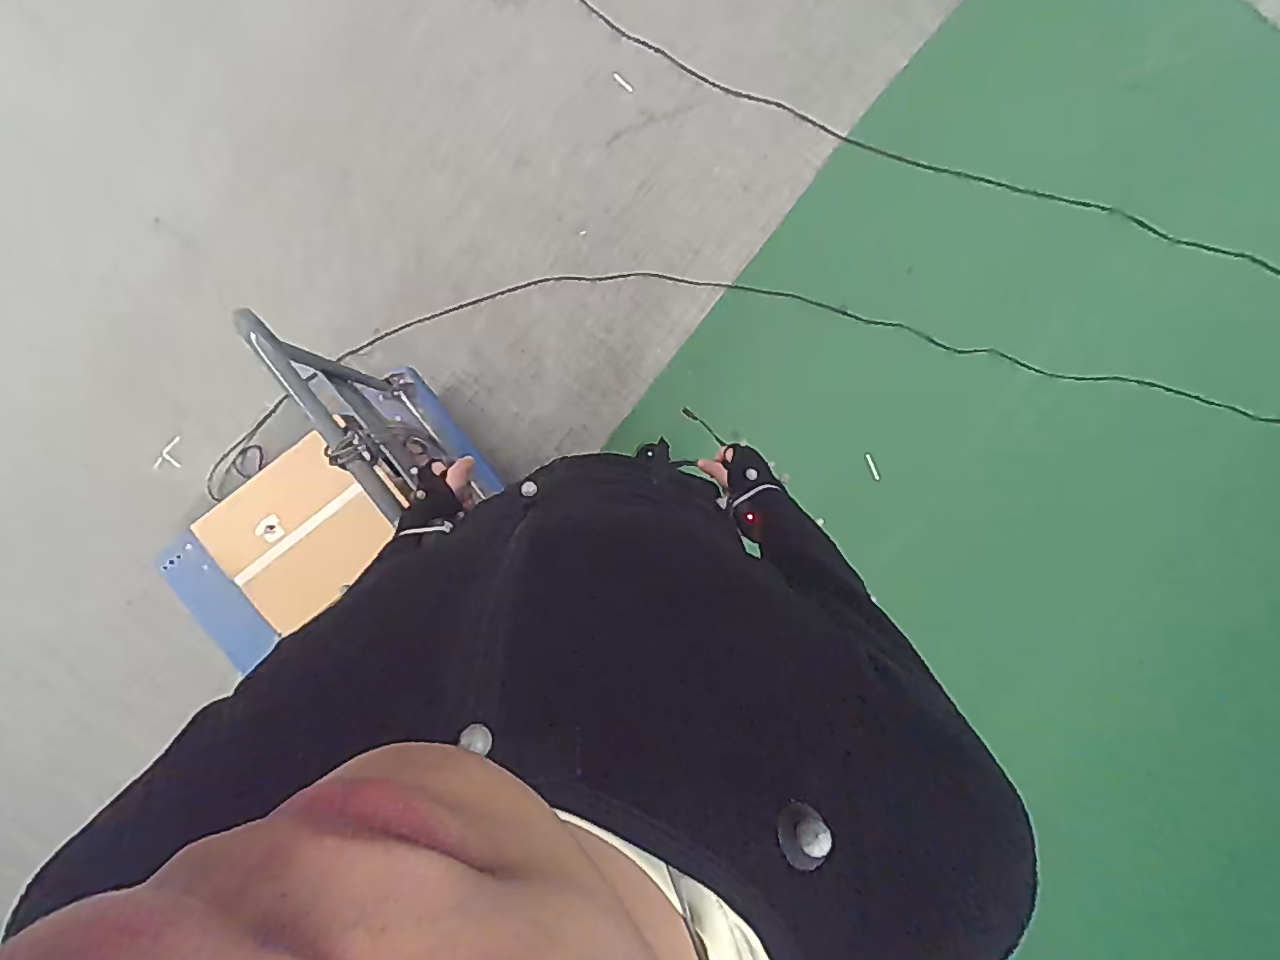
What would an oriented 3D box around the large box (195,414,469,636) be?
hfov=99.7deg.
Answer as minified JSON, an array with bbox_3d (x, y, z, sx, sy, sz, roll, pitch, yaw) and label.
[{"bbox_3d":[-0.695,0.086,1.291,0.408,0.320,0.320,-37,93,2],"label":"large box"}]
